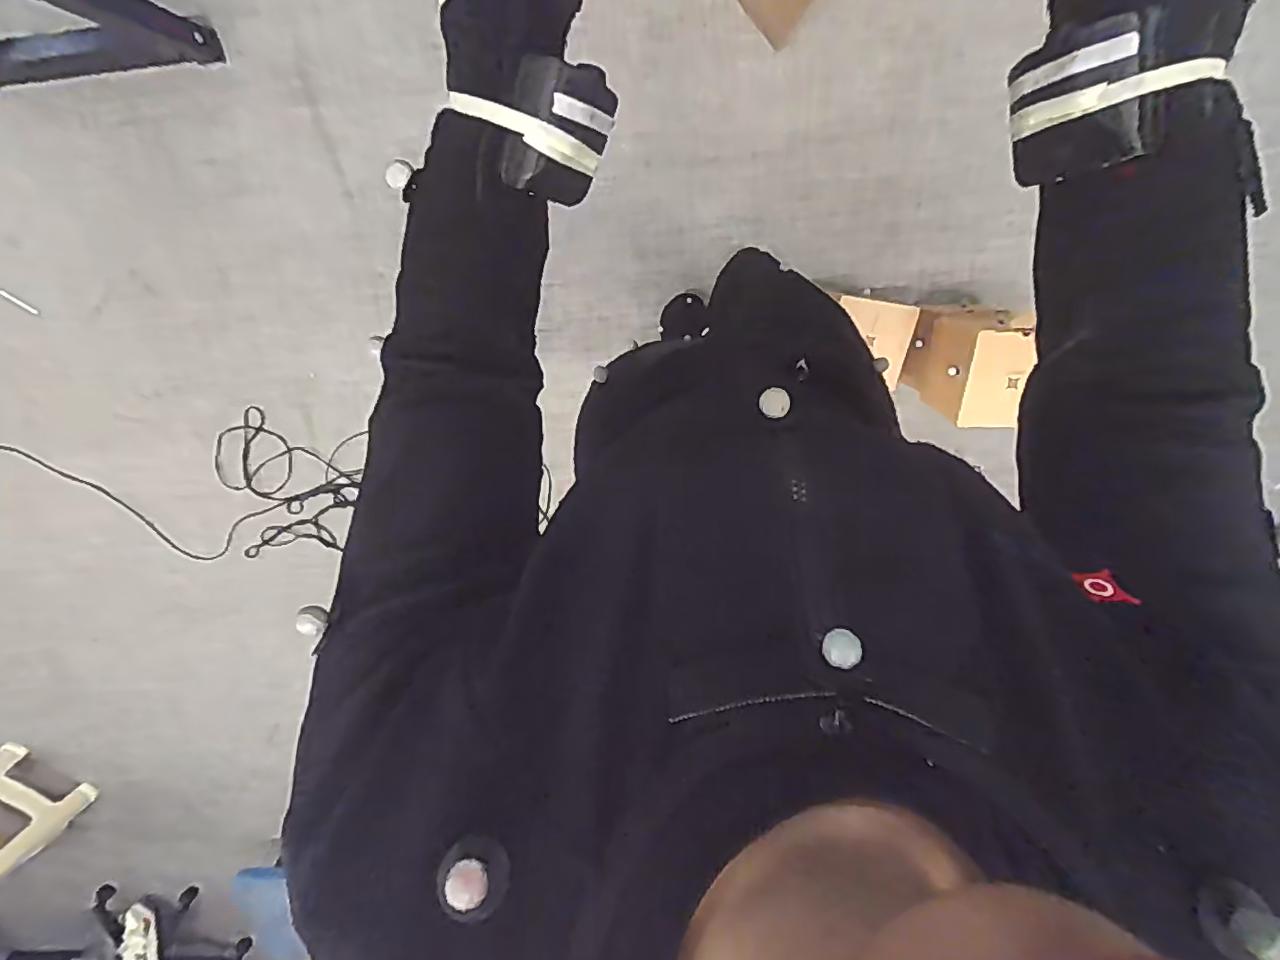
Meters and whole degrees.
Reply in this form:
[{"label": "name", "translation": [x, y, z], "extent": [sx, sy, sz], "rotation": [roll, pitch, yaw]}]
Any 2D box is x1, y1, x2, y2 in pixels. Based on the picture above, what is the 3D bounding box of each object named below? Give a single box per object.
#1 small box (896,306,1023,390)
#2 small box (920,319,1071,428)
[{"label": "small box", "translation": [0.682, -0.284, 1.179], "extent": [0.168, 0.176, 0.179], "rotation": [1, 112, 2]}, {"label": "small box", "translation": [0.663, -0.208, 1.036], "extent": [0.168, 0.176, 0.179], "rotation": [1, 113, 3]}]
